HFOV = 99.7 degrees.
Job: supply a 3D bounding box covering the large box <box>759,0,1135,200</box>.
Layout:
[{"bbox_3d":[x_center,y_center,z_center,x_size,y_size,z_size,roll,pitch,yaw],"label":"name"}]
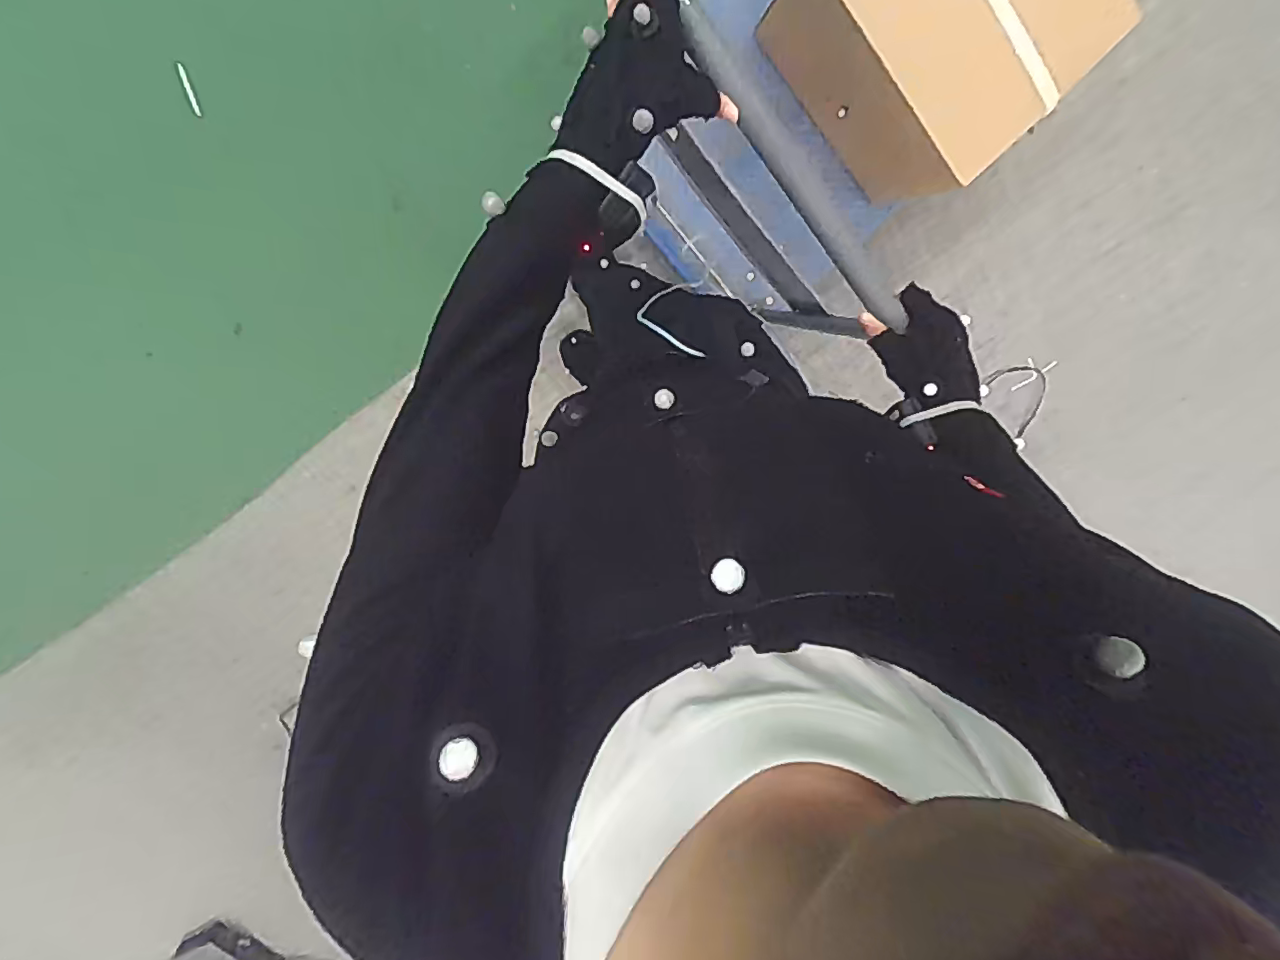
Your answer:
[{"bbox_3d":[0.471,-0.752,0.904,0.408,0.320,0.320,42,103,-17],"label":"large box"}]
